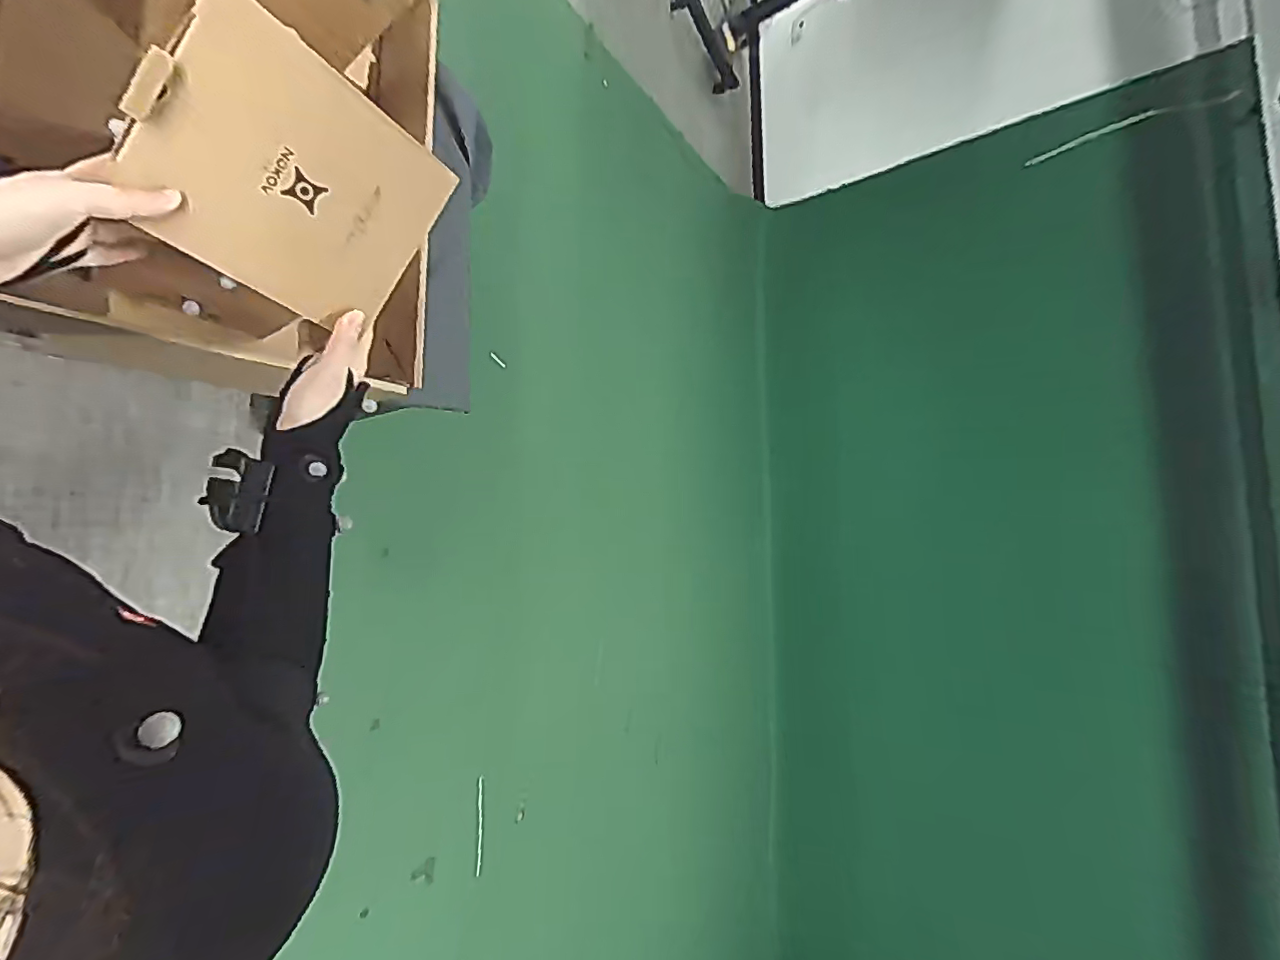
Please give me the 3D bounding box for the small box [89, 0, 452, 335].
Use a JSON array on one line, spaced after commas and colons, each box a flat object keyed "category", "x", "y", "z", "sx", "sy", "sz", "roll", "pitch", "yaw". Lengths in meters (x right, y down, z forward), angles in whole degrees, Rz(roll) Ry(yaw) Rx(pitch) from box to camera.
[{"category": "small box", "x": -0.299, "y": -0.253, "z": 0.454, "sx": 0.179, "sy": 0.176, "sz": 0.168, "roll": 29, "pitch": 98, "yaw": -45}]
